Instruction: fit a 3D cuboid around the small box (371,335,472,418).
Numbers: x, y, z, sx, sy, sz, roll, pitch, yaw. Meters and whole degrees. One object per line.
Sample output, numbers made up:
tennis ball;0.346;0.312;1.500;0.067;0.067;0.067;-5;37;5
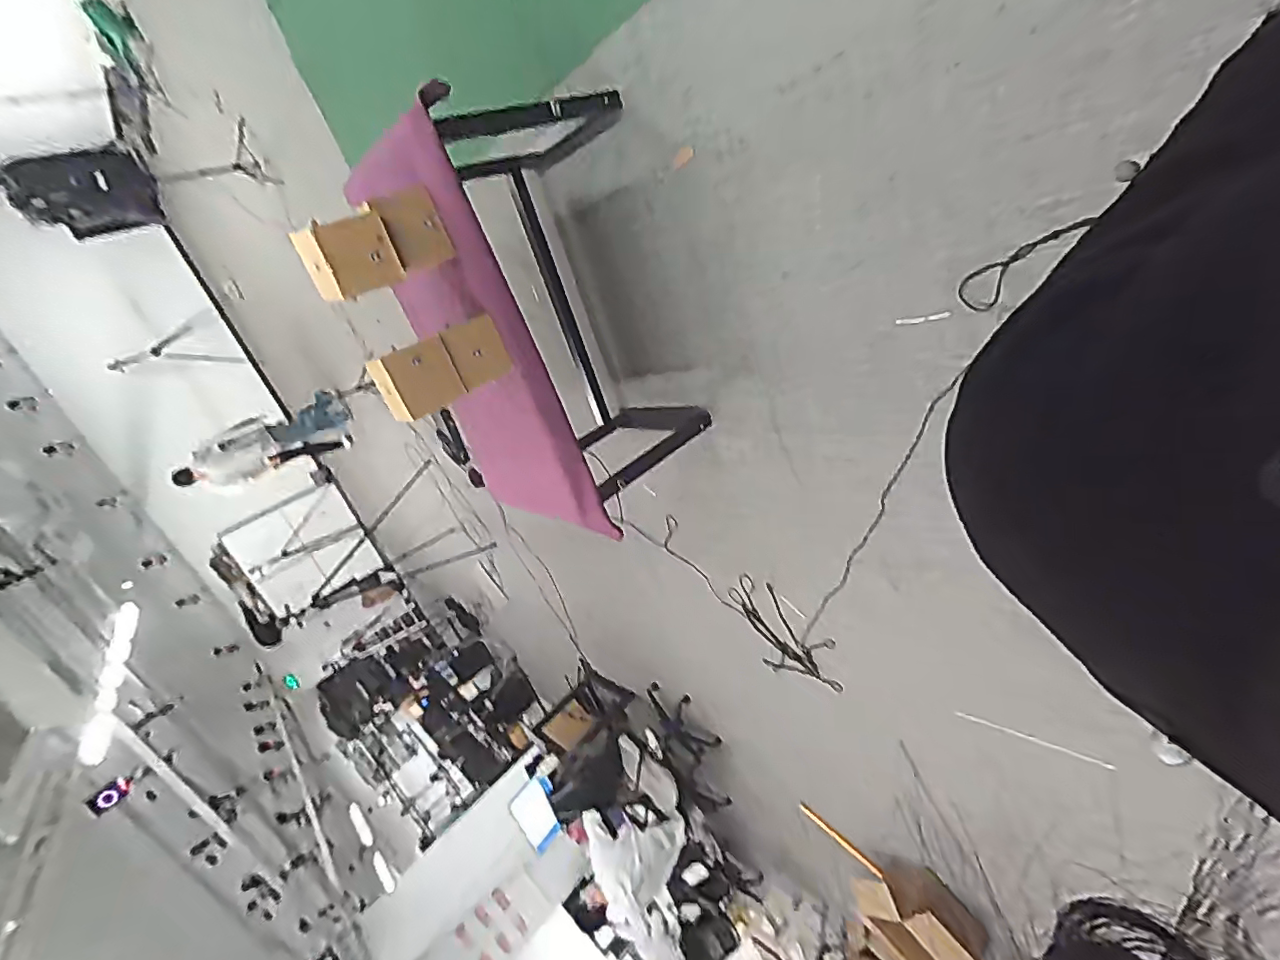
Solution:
small box;-0.591;-0.284;1.470;0.168;0.176;0.179;10;127;50

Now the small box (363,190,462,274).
small box;-0.615;-0.665;1.463;0.168;0.176;0.179;9;126;51

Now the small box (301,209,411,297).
small box;-0.712;-0.571;1.367;0.179;0.176;0.168;16;132;44
